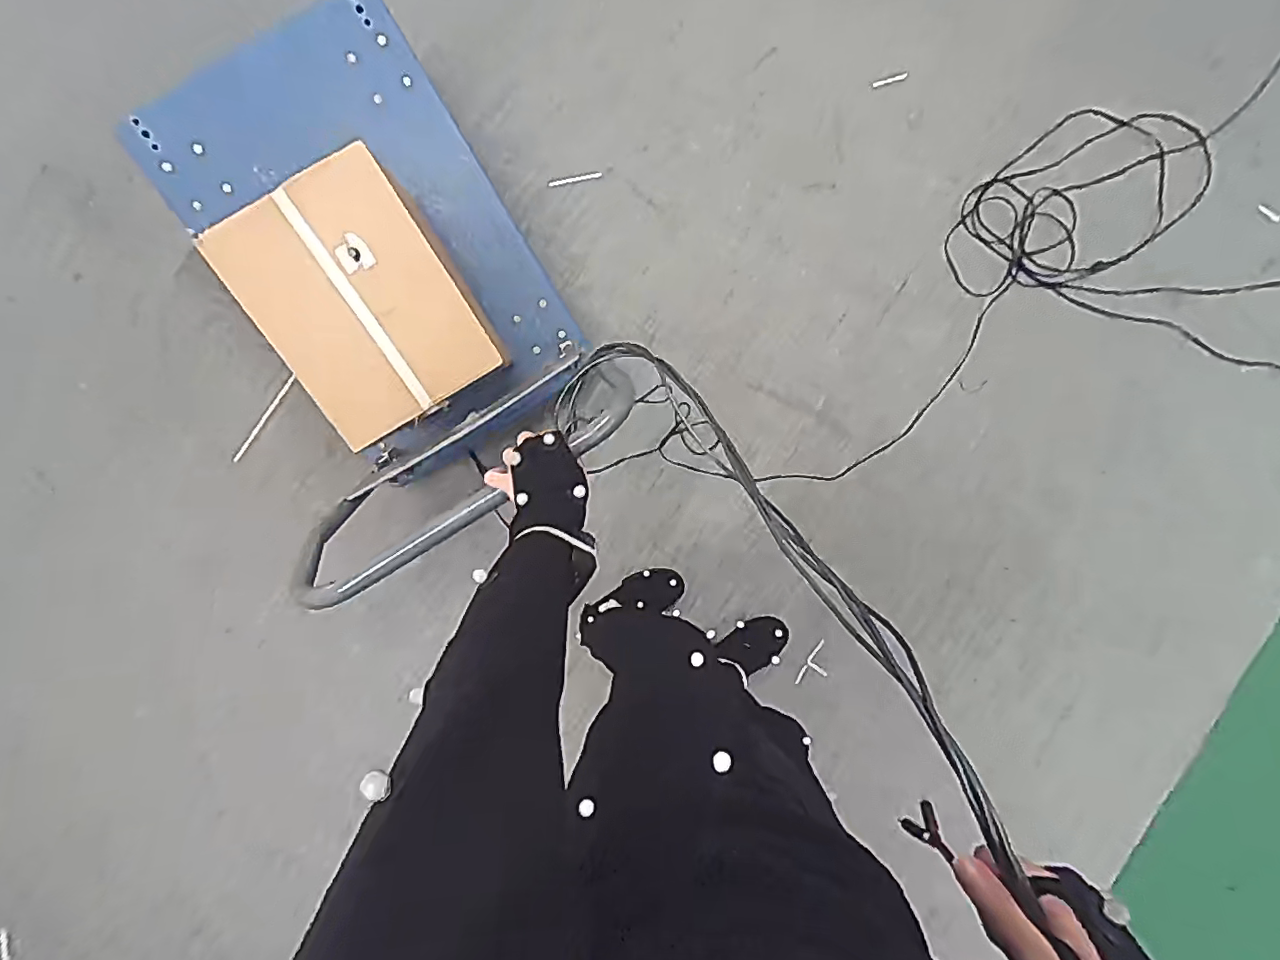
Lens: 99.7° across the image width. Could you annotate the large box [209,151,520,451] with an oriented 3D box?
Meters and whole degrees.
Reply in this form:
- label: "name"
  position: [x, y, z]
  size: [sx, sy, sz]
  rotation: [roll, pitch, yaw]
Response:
- label: "large box"
  position: [-0.483, -0.320, 1.060]
  size: [0.320, 0.320, 0.408]
  rotation: [-32, 105, -2]
